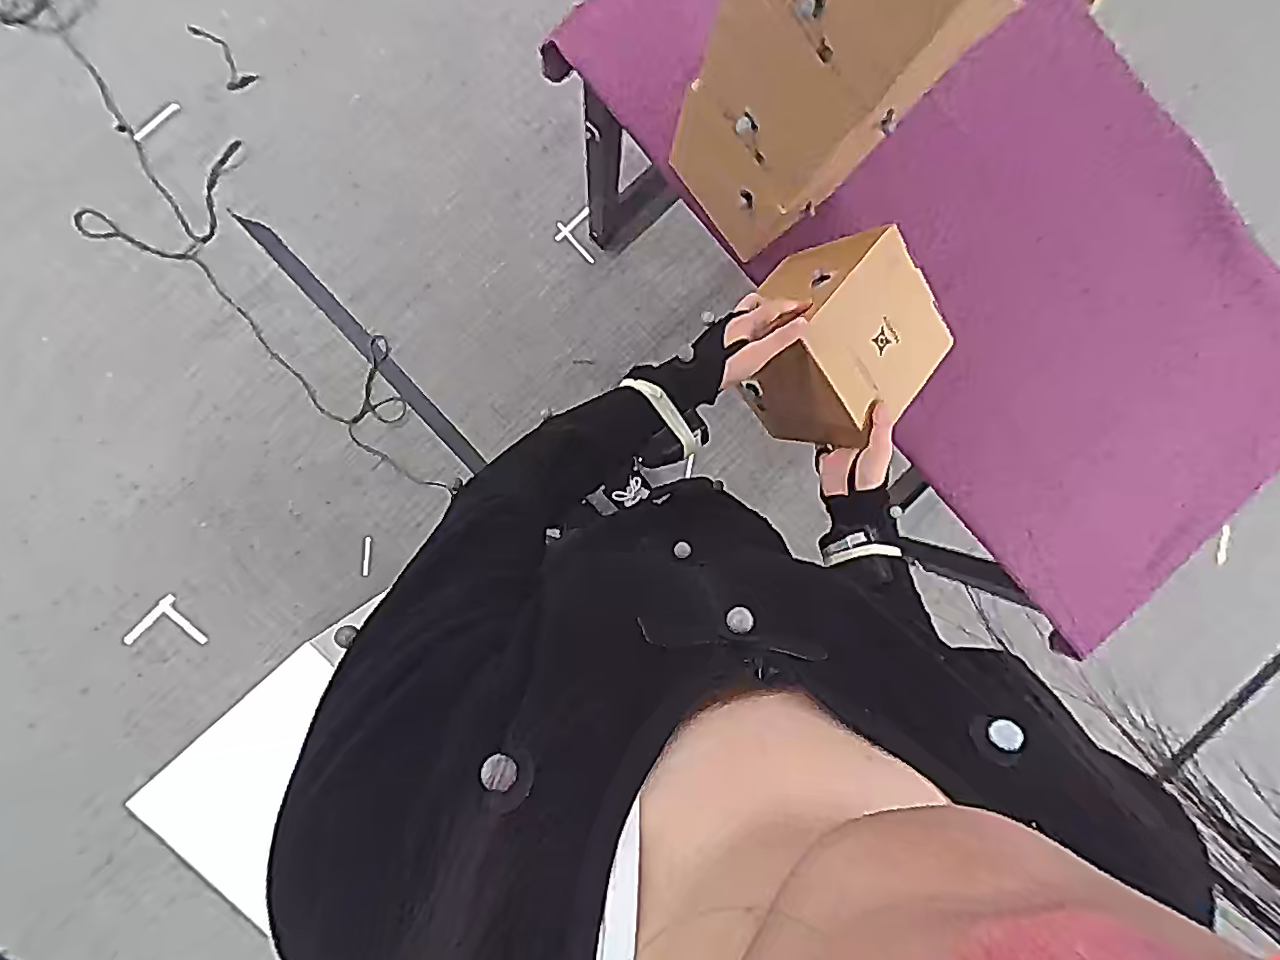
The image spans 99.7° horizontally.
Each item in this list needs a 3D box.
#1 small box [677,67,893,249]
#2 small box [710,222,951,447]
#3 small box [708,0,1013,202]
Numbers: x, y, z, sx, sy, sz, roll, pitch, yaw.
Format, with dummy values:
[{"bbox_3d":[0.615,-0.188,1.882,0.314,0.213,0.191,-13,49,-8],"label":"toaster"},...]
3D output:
[{"bbox_3d":[0.167,-0.420,0.680,0.168,0.176,0.179,-39,95,-1],"label":"small box"},{"bbox_3d":[0.217,-0.162,0.640,0.179,0.176,0.168,-49,115,-12],"label":"small box"},{"bbox_3d":[0.189,-0.414,0.517,0.179,0.176,0.168,-39,96,0],"label":"small box"}]
